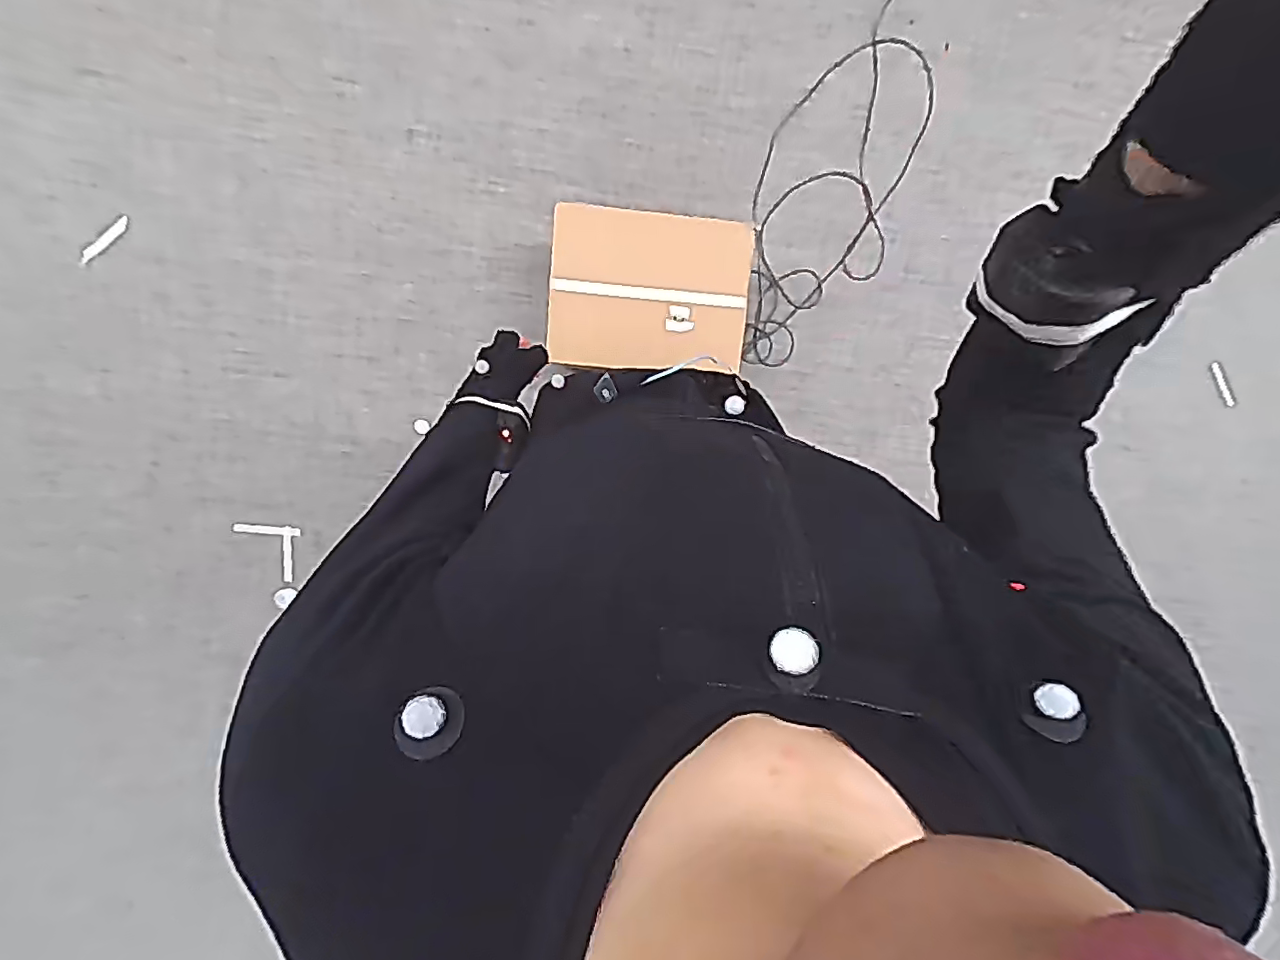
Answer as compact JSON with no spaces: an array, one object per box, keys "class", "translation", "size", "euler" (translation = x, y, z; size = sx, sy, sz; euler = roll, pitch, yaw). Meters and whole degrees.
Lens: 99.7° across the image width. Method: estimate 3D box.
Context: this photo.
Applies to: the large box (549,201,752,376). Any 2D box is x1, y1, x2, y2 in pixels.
[{"class":"large box","translation":[0.009,-0.415,1.257],"size":[0.408,0.320,0.320],"euler":[5,100,-4]}]
